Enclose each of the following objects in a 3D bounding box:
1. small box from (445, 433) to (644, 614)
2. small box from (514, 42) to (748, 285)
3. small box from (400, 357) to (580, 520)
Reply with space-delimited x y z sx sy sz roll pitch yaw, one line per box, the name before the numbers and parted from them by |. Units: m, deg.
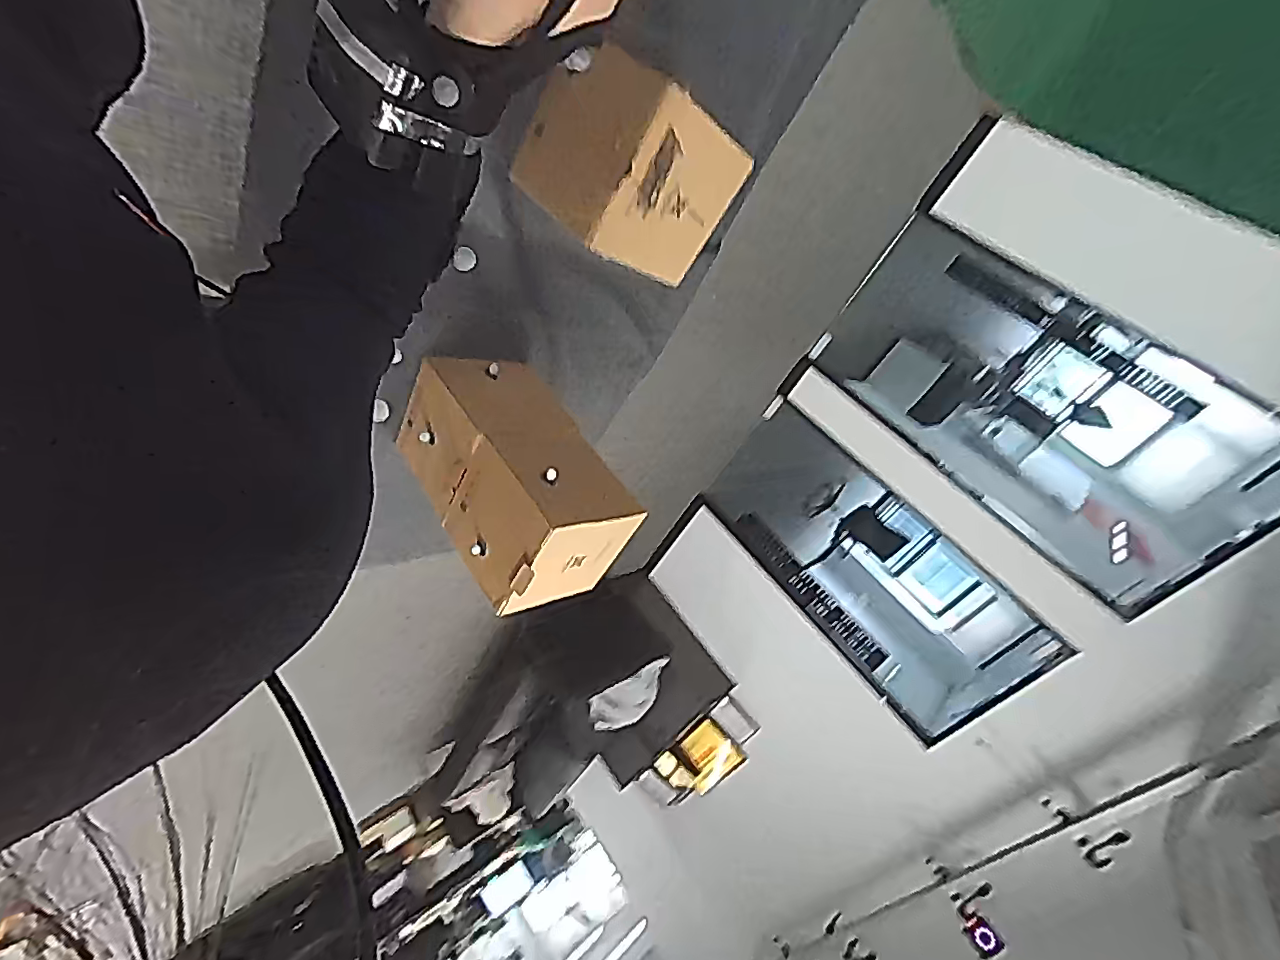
small box | -0.136 0.049 0.738 0.179 0.176 0.168 -7 139 -52
small box | -0.015 -0.362 0.630 0.179 0.176 0.168 -4 137 -54
small box | -0.229 -0.065 0.805 0.179 0.176 0.168 -7 140 -49
